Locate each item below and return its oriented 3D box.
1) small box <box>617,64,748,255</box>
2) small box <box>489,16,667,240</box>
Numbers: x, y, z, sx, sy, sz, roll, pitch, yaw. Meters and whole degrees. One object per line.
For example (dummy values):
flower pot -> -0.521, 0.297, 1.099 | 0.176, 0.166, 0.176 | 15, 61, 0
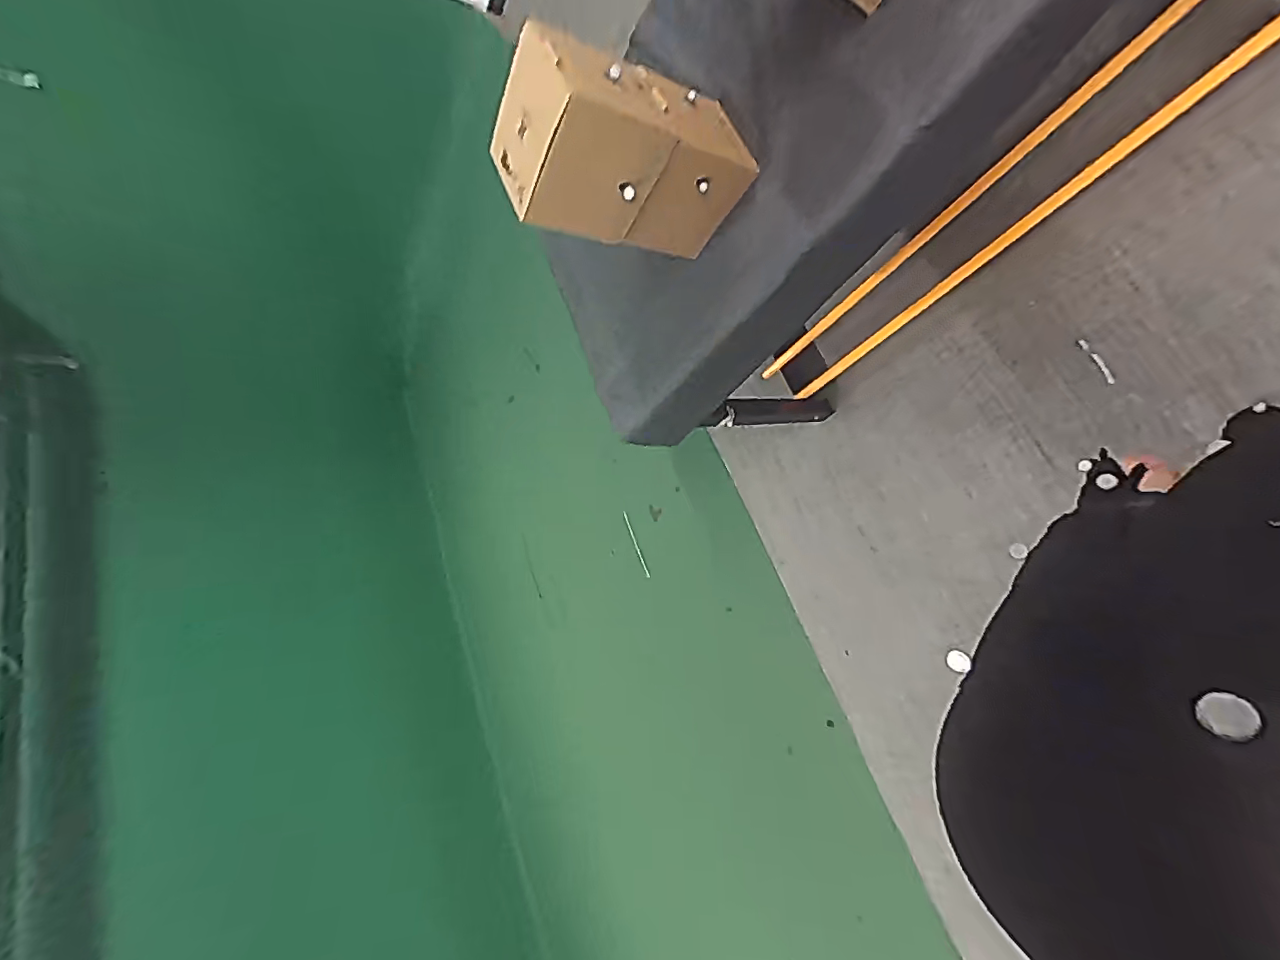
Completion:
small box -> 0.045, -0.487, 0.848 | 0.179, 0.176, 0.168 | -45, 59, 46
small box -> -0.083, -0.468, 0.746 | 0.179, 0.176, 0.168 | -47, 57, 44
